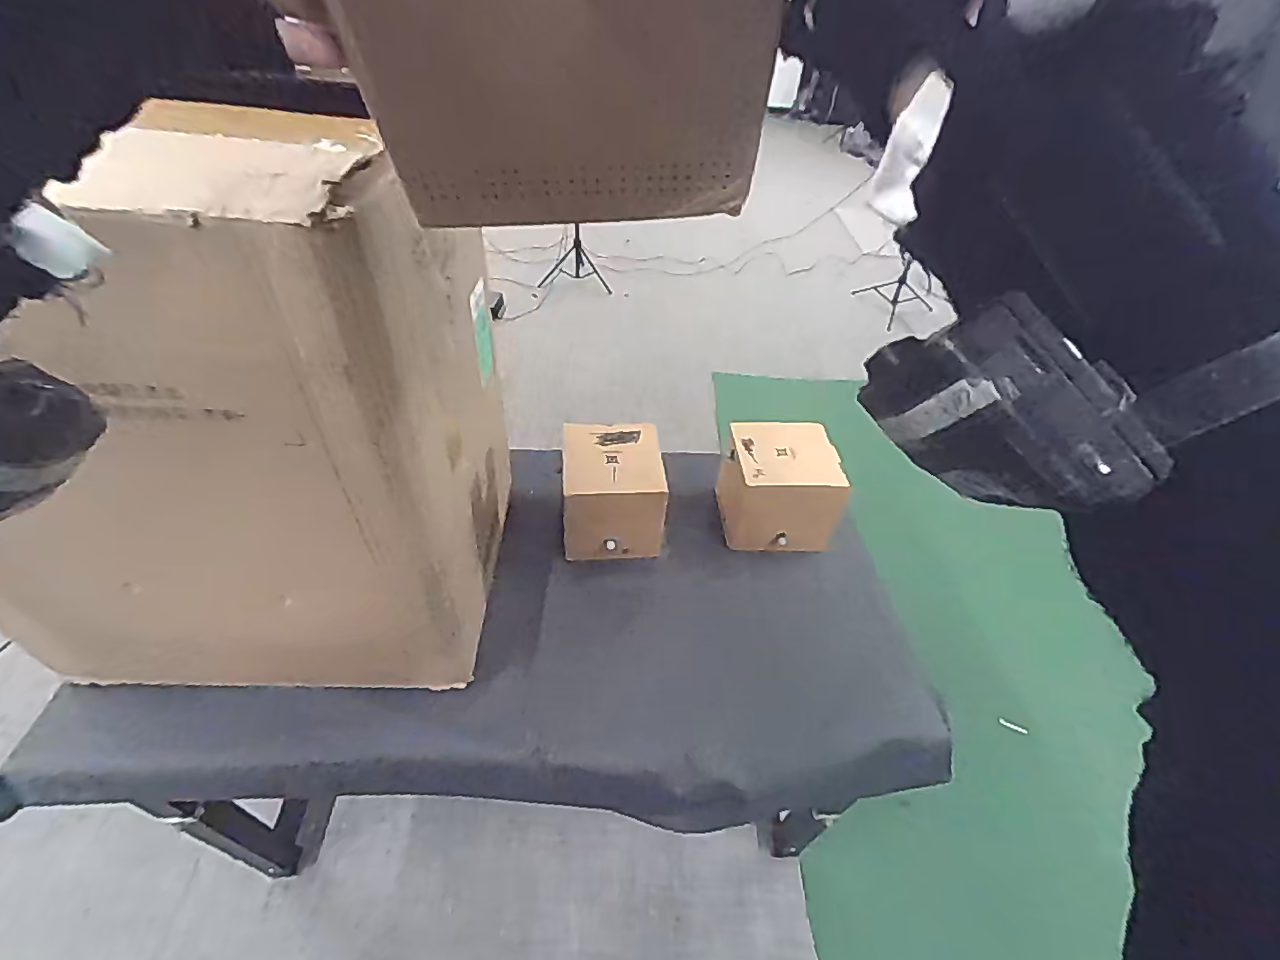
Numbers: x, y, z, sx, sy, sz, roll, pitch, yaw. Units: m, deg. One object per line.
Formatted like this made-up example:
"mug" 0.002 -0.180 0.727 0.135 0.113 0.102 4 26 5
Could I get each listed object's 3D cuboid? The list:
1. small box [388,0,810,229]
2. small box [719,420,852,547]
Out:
"small box" -0.019 -0.243 0.258 0.179 0.176 0.168 -2 66 -2
"small box" 0.254 0.010 0.991 0.179 0.176 0.168 1 44 -4
